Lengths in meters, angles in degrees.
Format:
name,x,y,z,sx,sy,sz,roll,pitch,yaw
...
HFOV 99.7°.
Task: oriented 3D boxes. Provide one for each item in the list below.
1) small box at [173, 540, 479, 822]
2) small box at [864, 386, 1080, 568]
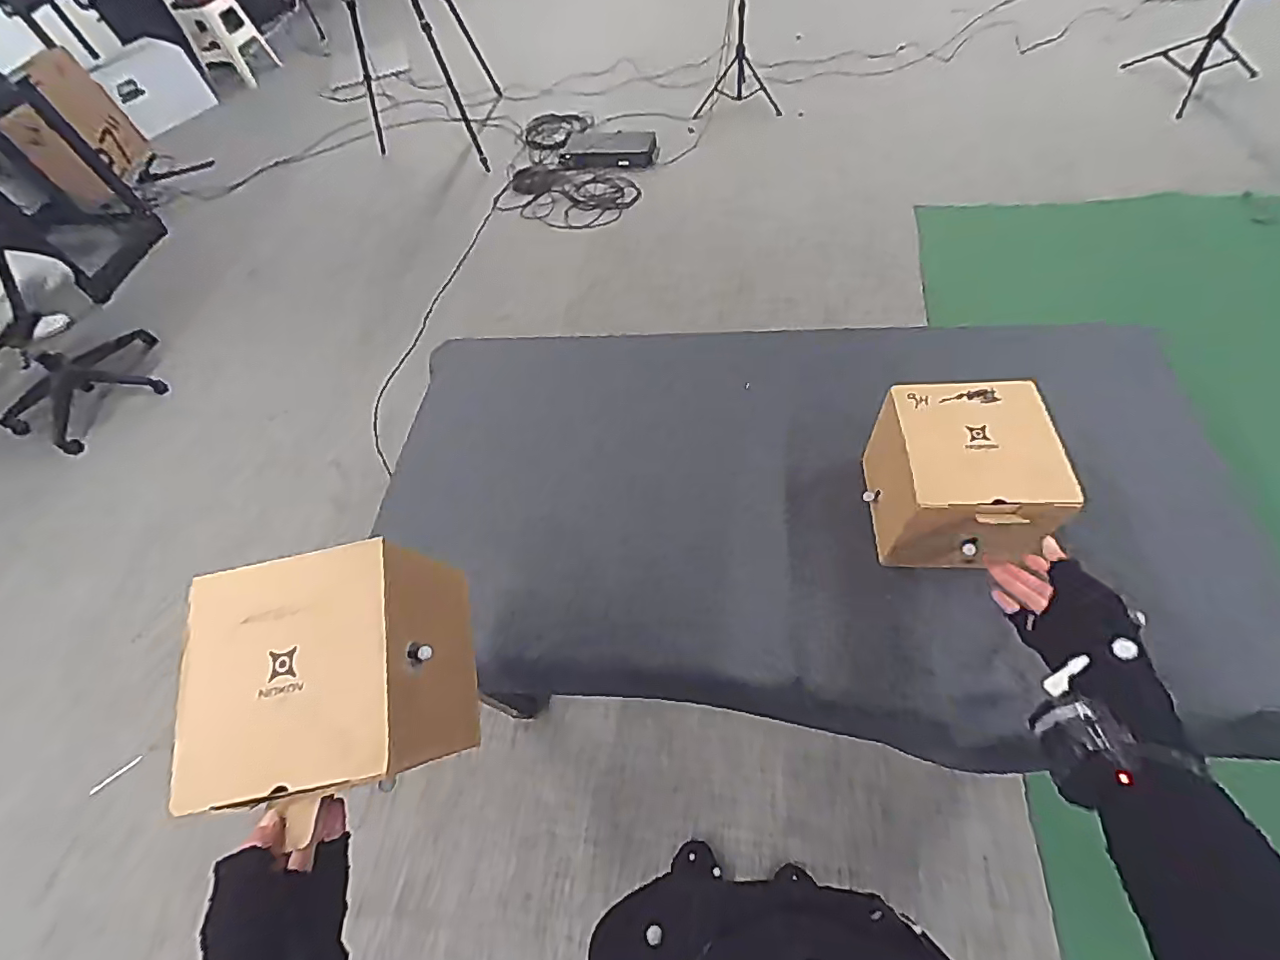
name,x,y,z,sx,sy,sz,roll,pitch,yaw
small box,-0.253,0.168,0.477,0.168,0.176,0.179,-13,70,2
small box,0.397,0.003,0.686,0.168,0.176,0.179,0,59,8
